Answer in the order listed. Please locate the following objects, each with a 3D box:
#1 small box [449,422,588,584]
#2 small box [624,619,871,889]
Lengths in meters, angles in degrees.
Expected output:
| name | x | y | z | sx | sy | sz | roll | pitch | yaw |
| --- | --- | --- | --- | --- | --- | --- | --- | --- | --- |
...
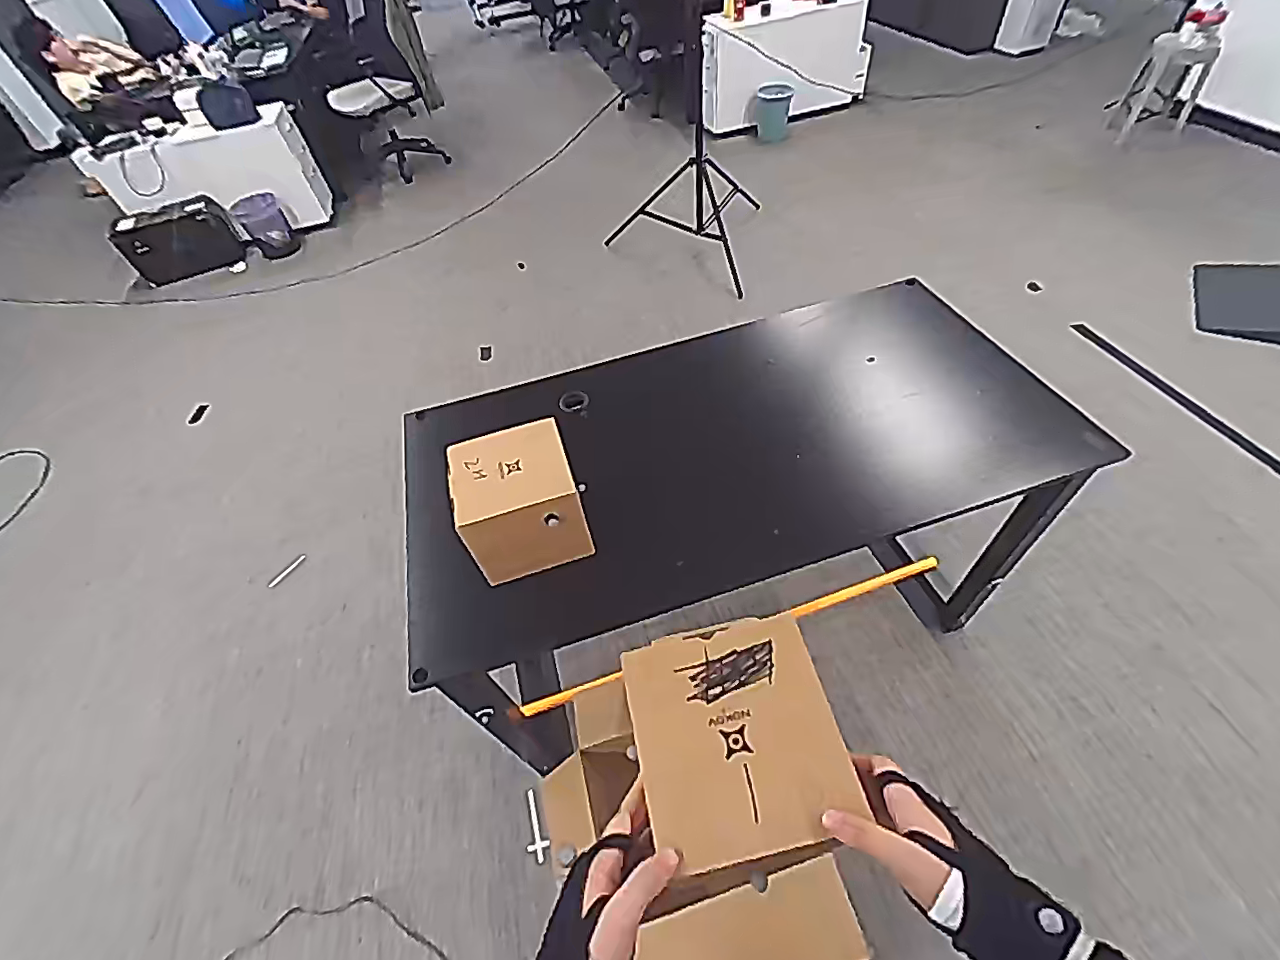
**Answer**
| name | x | y | z | sx | sy | sz | roll | pitch | yaw |
| --- | --- | --- | --- | --- | --- | --- | --- | --- | --- |
| small box | -0.188 | 0.040 | 0.867 | 0.179 | 0.176 | 0.168 | -17 | 50 | -7 |
| small box | 0.087 | 0.262 | 0.513 | 0.168 | 0.176 | 0.179 | -13 | 51 | -1 |
